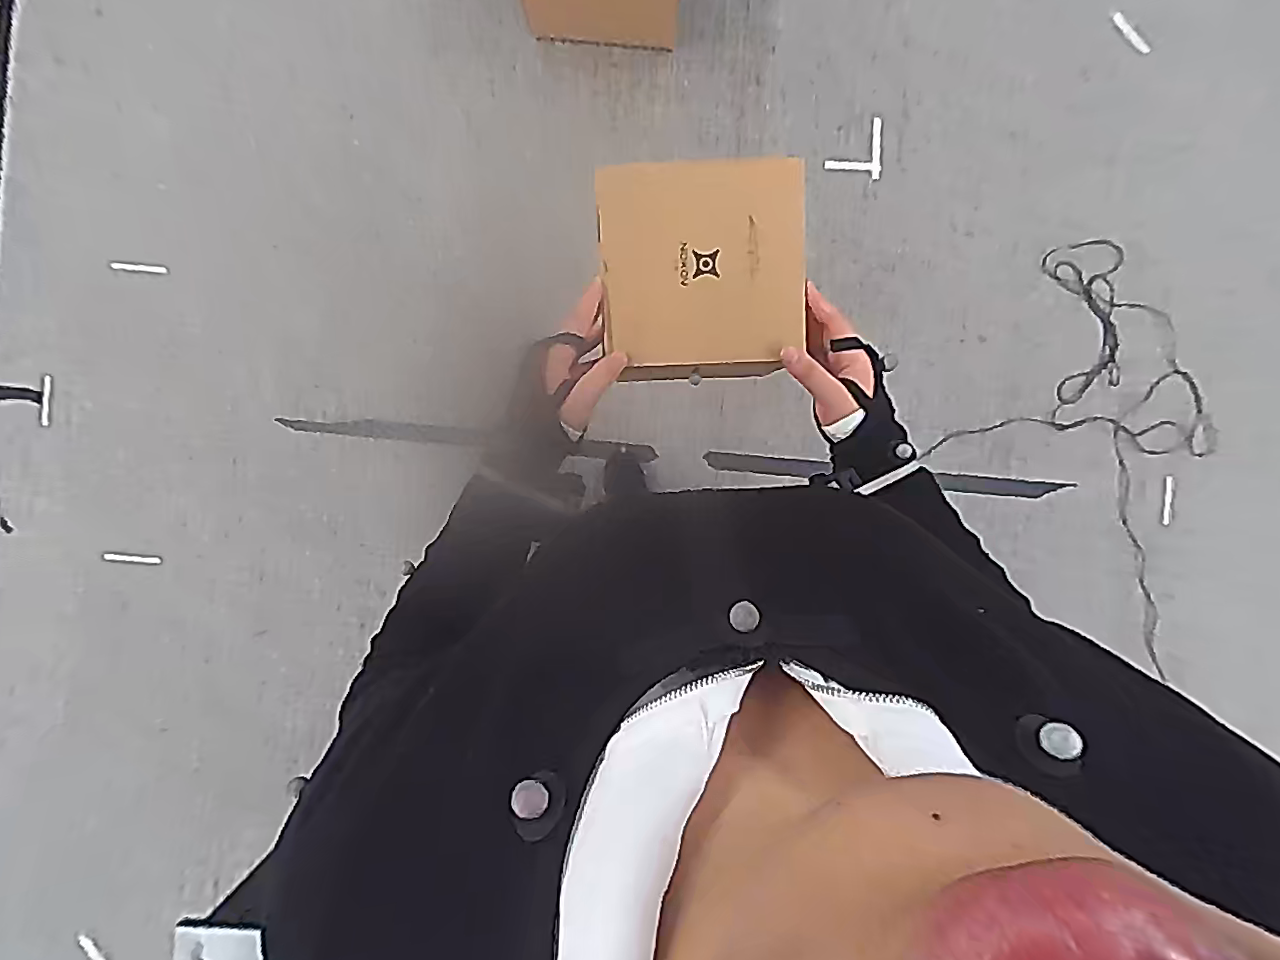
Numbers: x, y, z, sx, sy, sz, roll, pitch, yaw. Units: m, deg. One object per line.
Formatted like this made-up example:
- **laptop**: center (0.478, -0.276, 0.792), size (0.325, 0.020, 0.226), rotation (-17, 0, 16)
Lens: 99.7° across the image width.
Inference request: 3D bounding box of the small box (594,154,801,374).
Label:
- **small box**: center (0.052, -0.198, 0.543), size (0.179, 0.176, 0.168), rotation (-2, 97, 1)
